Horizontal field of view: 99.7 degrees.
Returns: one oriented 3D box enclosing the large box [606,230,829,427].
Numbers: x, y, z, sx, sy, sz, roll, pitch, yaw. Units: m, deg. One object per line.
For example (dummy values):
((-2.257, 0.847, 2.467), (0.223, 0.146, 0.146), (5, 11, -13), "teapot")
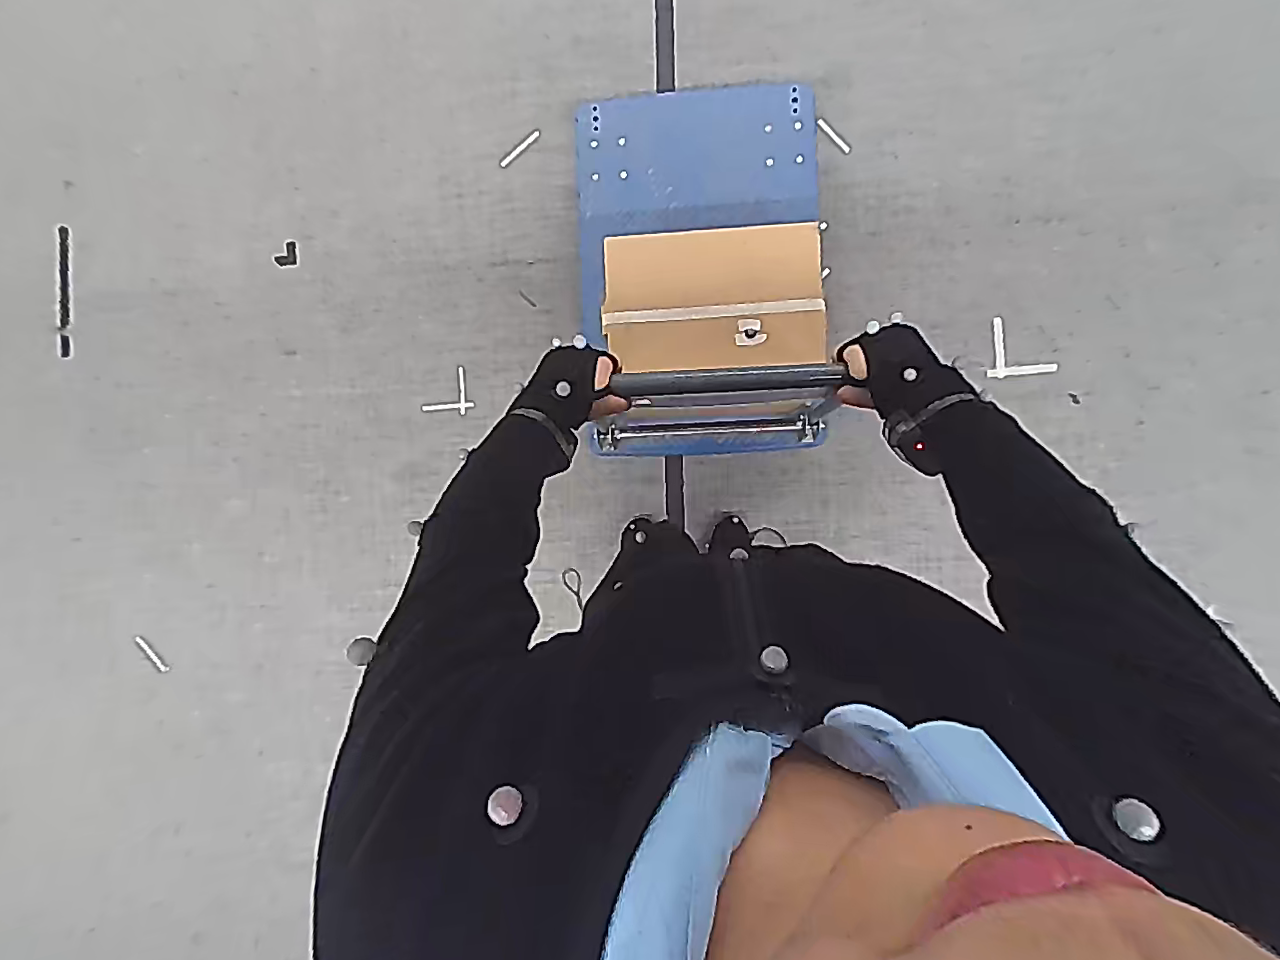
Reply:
((0.150, -0.294, 1.151), (0.408, 0.320, 0.320), (-2, 90, 4), "large box")
